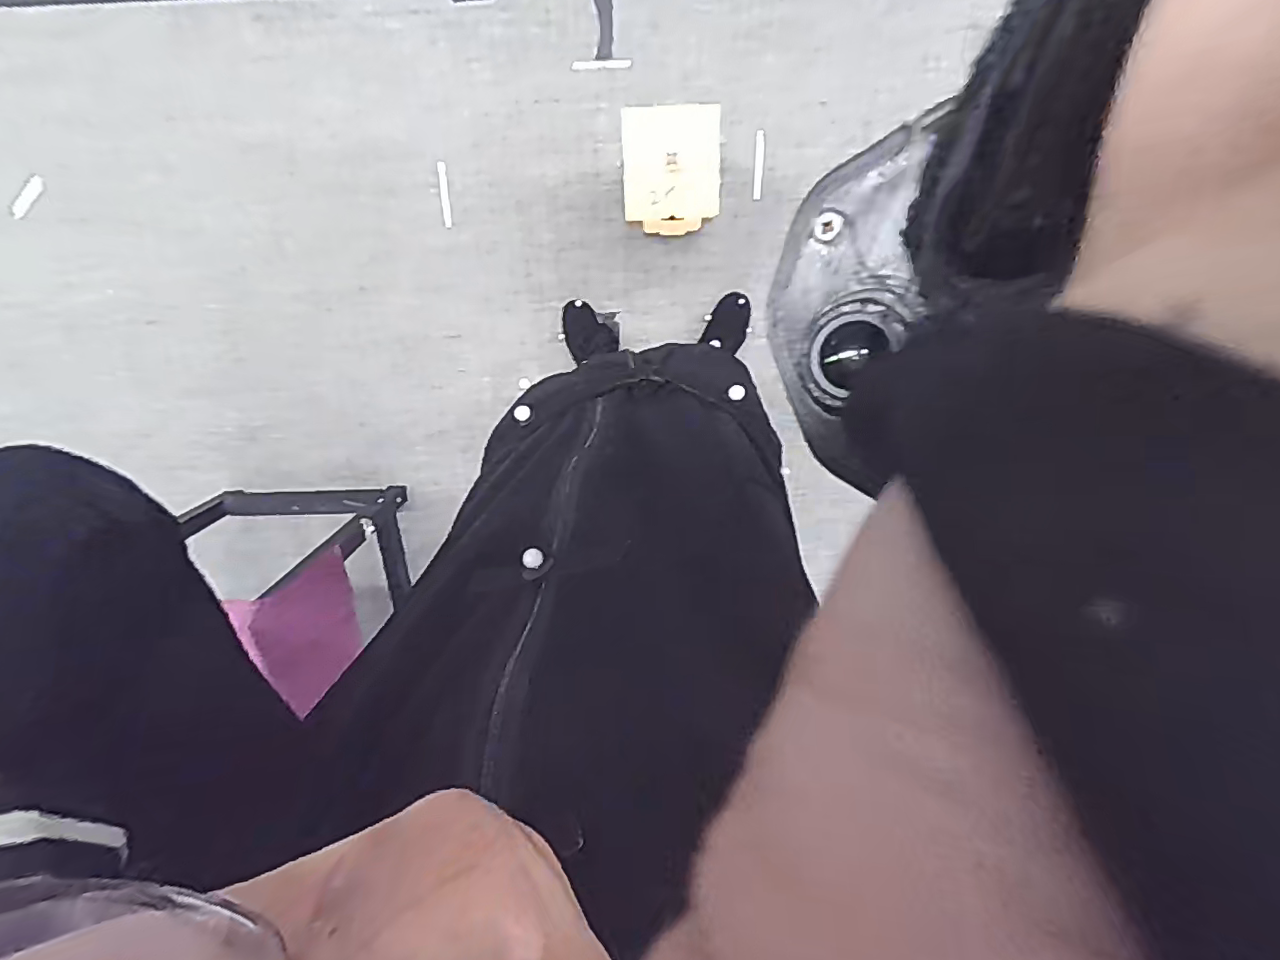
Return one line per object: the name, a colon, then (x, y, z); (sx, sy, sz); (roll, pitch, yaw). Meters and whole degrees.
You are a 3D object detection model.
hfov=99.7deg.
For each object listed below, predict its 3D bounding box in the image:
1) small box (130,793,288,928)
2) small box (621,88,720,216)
small box: (-0.882, 0.791, 1.130); (0.168, 0.176, 0.179); (-5, 112, 2)
small box: (0.049, -0.587, 0.986); (0.168, 0.176, 0.179); (-2, 113, 0)
